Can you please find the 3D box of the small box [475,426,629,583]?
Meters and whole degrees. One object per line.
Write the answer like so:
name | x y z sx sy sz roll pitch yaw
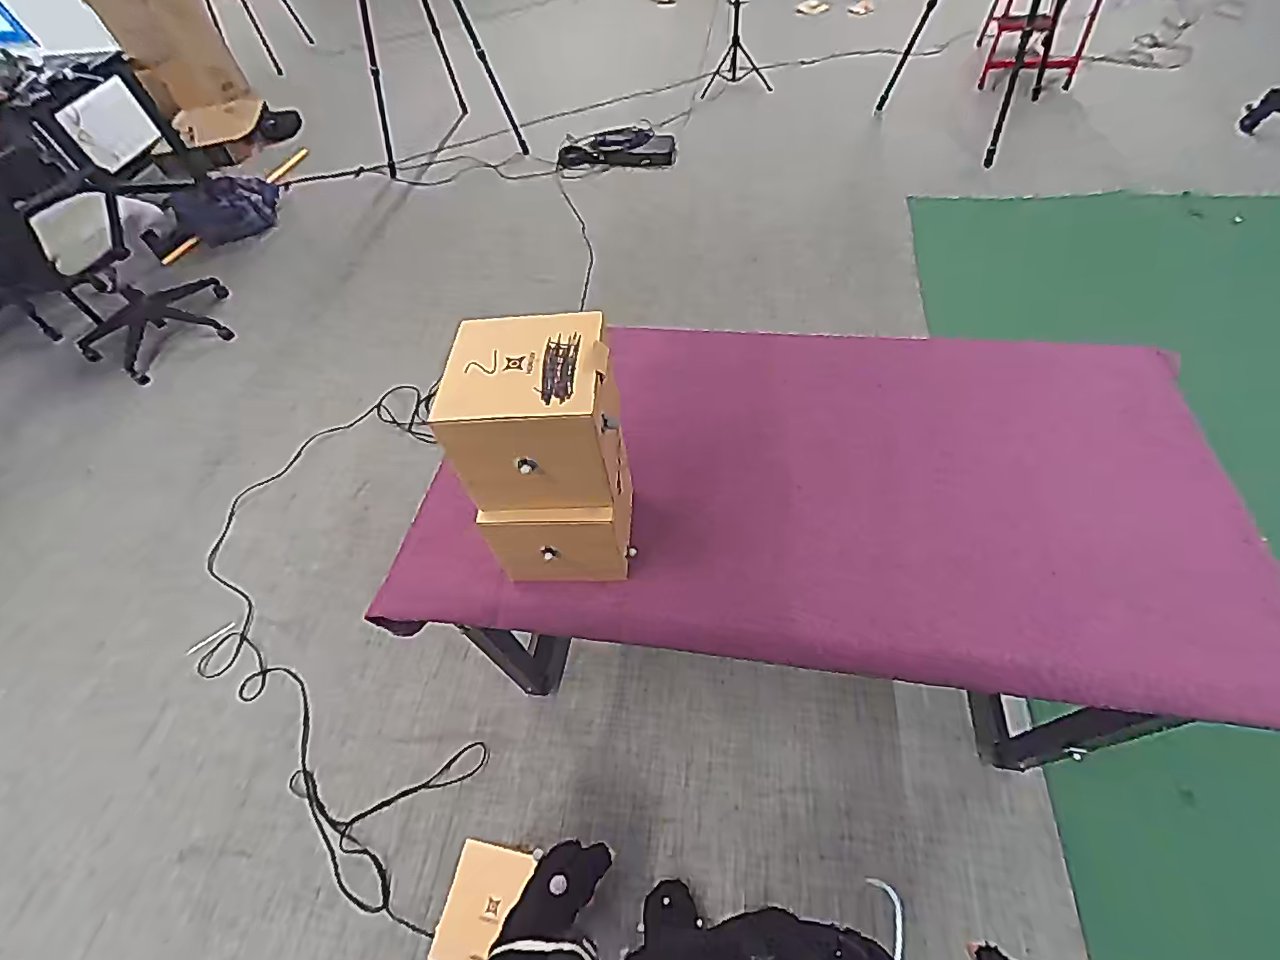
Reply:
small box | -0.111 0.039 0.780 0.179 0.176 0.168 0 54 6
